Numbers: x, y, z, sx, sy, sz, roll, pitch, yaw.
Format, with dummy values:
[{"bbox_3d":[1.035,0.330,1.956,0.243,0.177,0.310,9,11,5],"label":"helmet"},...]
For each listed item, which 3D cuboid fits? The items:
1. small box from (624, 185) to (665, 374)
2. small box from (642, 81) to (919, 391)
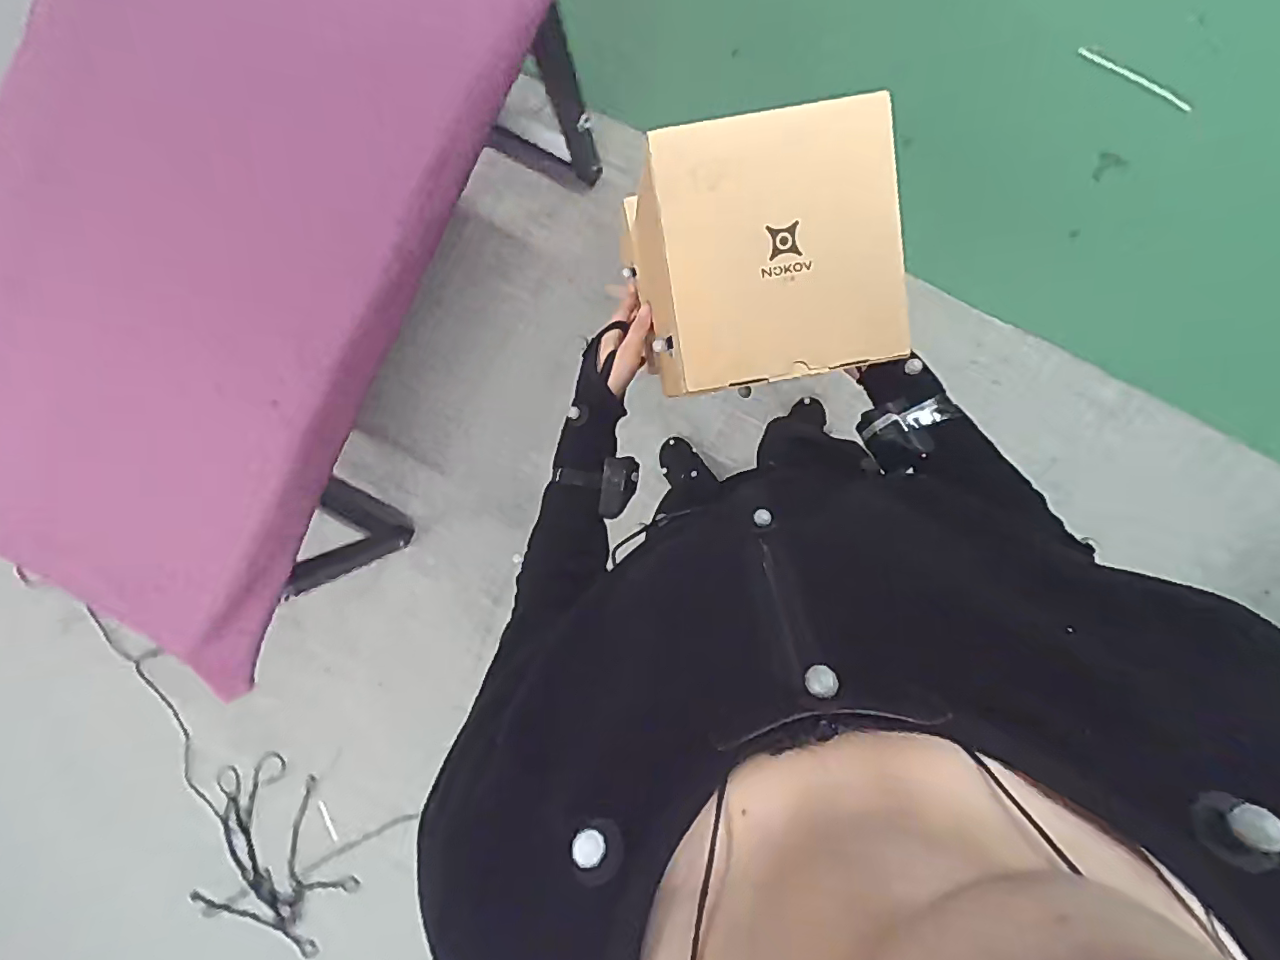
[{"bbox_3d":[0.083,-0.216,0.595,0.179,0.176,0.168,-10,97,-2],"label":"small box"},{"bbox_3d":[0.096,-0.172,0.438,0.168,0.176,0.179,-9,99,-1],"label":"small box"}]
